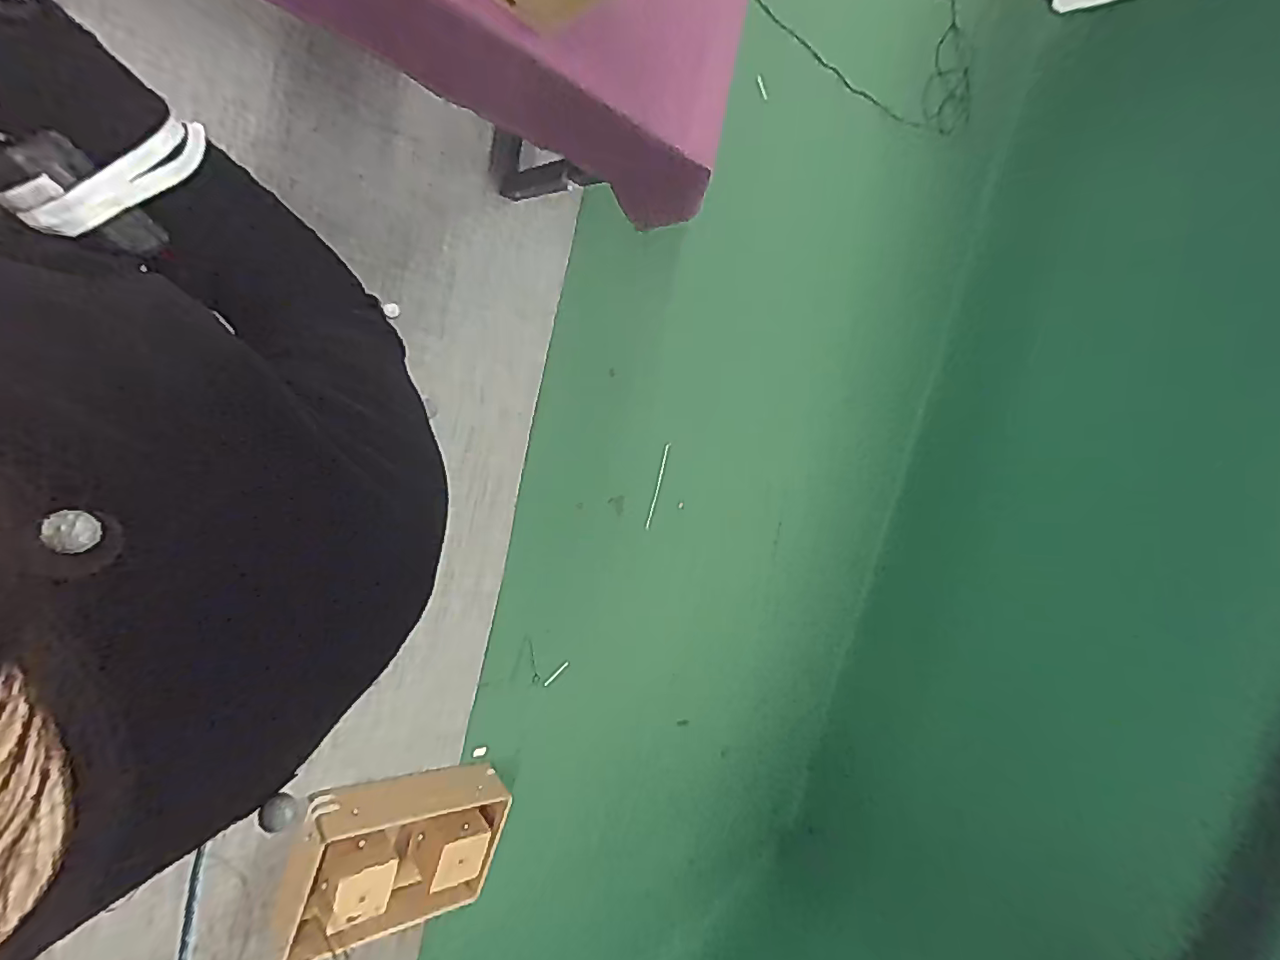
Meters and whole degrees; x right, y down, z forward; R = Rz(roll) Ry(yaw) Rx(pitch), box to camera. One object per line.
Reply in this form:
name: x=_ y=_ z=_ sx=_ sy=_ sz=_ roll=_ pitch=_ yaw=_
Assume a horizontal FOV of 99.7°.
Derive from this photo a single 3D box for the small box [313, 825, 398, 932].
small box: x=-0.846 y=1.162 z=1.600 sx=0.168 sy=0.176 sz=0.179 roll=12 pitch=95 yaw=-46
